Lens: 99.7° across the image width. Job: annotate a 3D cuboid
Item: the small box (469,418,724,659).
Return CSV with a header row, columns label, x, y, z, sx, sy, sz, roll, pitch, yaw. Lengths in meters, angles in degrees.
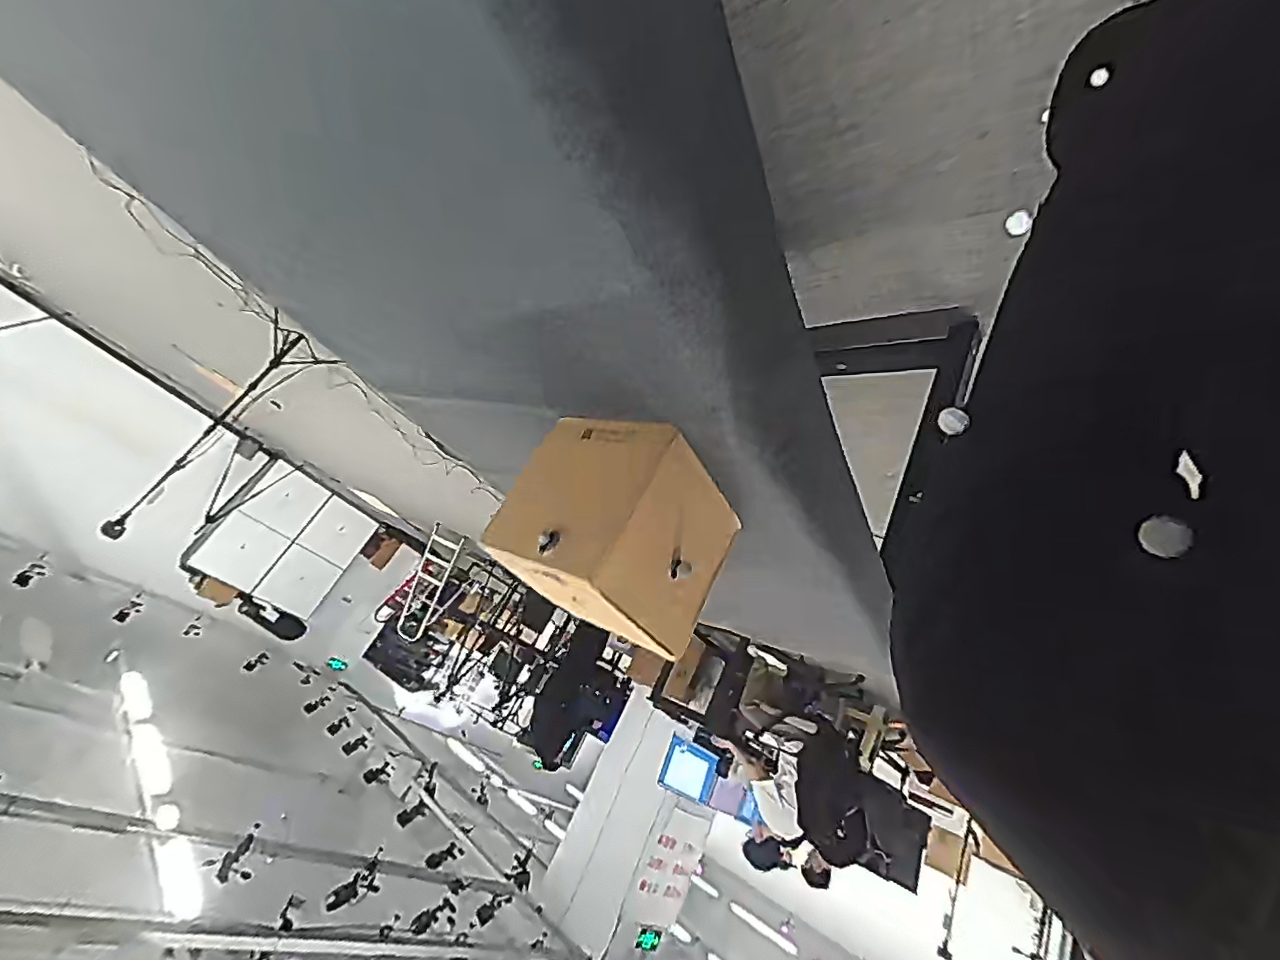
label,x,y,z,sx,sy,sz,roll,pitch,yaw
small box,-0.034,0.057,0.573,0.168,0.176,0.179,9,150,40
